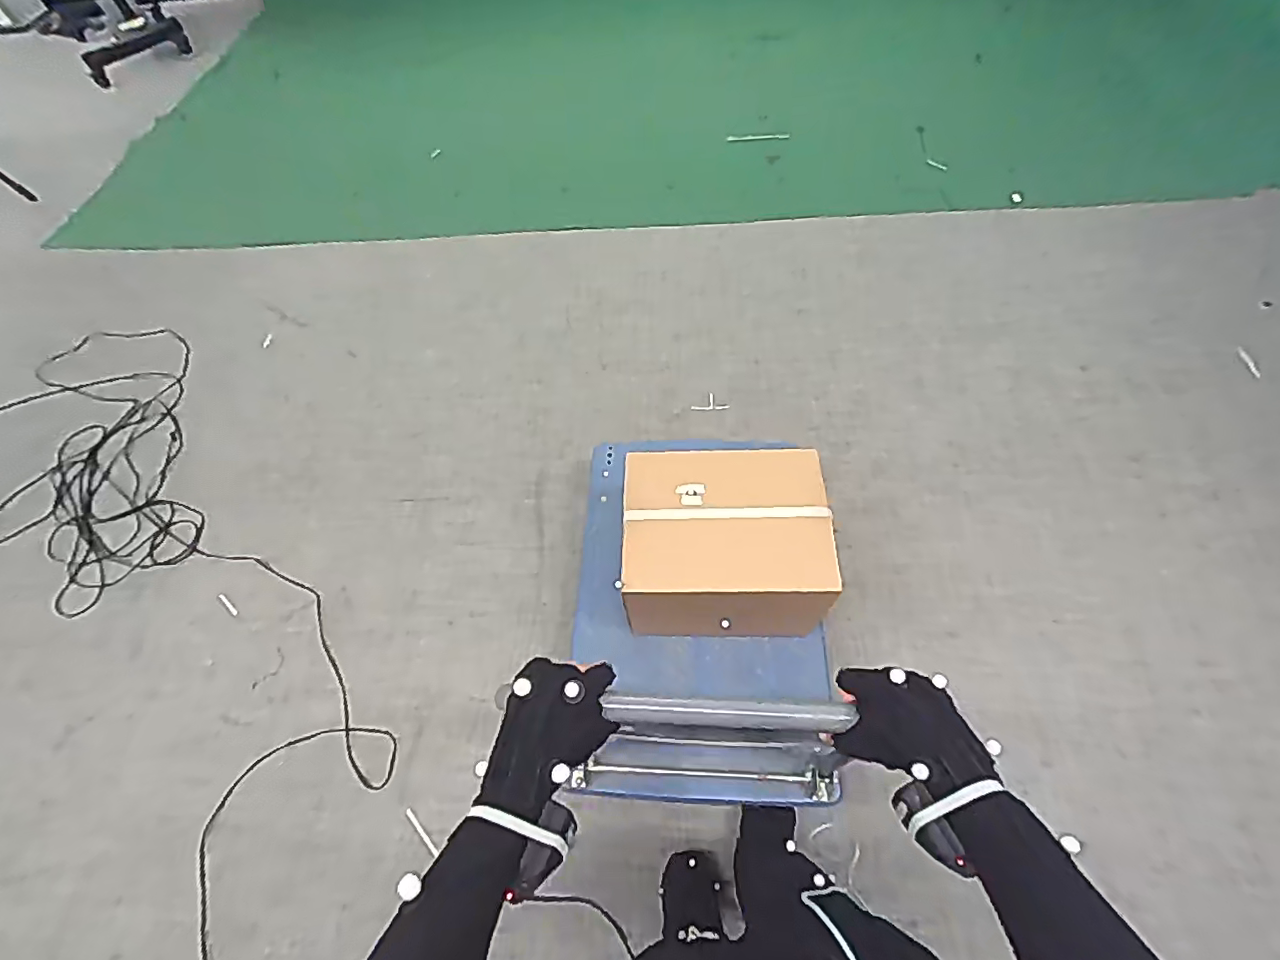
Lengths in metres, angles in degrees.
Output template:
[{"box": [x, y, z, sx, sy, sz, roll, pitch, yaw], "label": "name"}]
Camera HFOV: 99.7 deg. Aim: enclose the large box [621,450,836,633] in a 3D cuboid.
[{"box": [0.179, 0.151, 1.208, 0.408, 0.320, 0.320, -2, 59, 5], "label": "large box"}]
